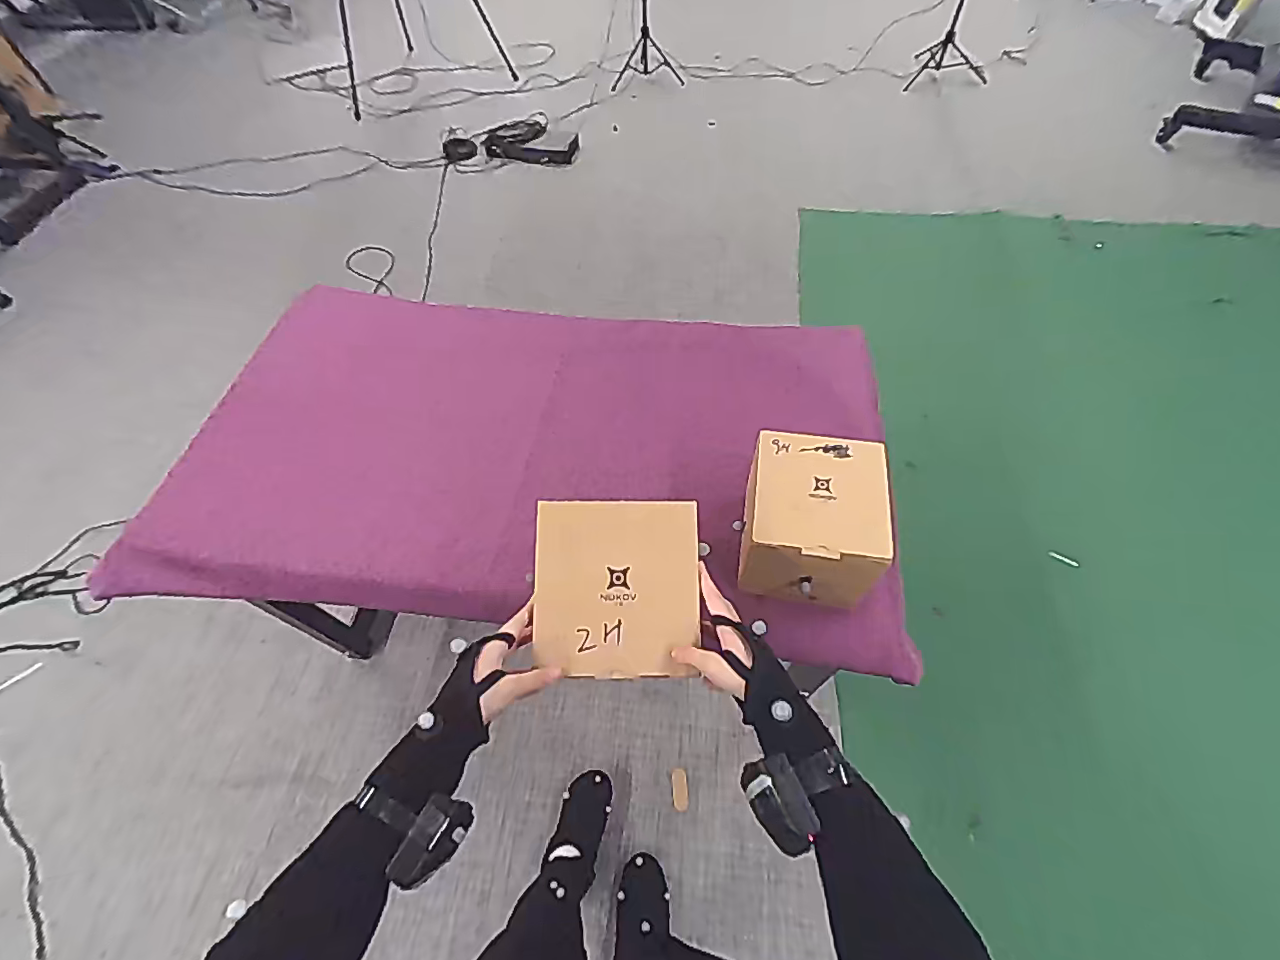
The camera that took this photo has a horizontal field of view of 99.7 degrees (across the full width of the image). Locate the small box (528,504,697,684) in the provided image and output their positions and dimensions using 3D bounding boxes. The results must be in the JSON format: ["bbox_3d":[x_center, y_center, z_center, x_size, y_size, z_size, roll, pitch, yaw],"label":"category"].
[{"bbox_3d":[-0.028,0.127,0.614,0.168,0.176,0.179,1,79,-1],"label":"small box"}]
